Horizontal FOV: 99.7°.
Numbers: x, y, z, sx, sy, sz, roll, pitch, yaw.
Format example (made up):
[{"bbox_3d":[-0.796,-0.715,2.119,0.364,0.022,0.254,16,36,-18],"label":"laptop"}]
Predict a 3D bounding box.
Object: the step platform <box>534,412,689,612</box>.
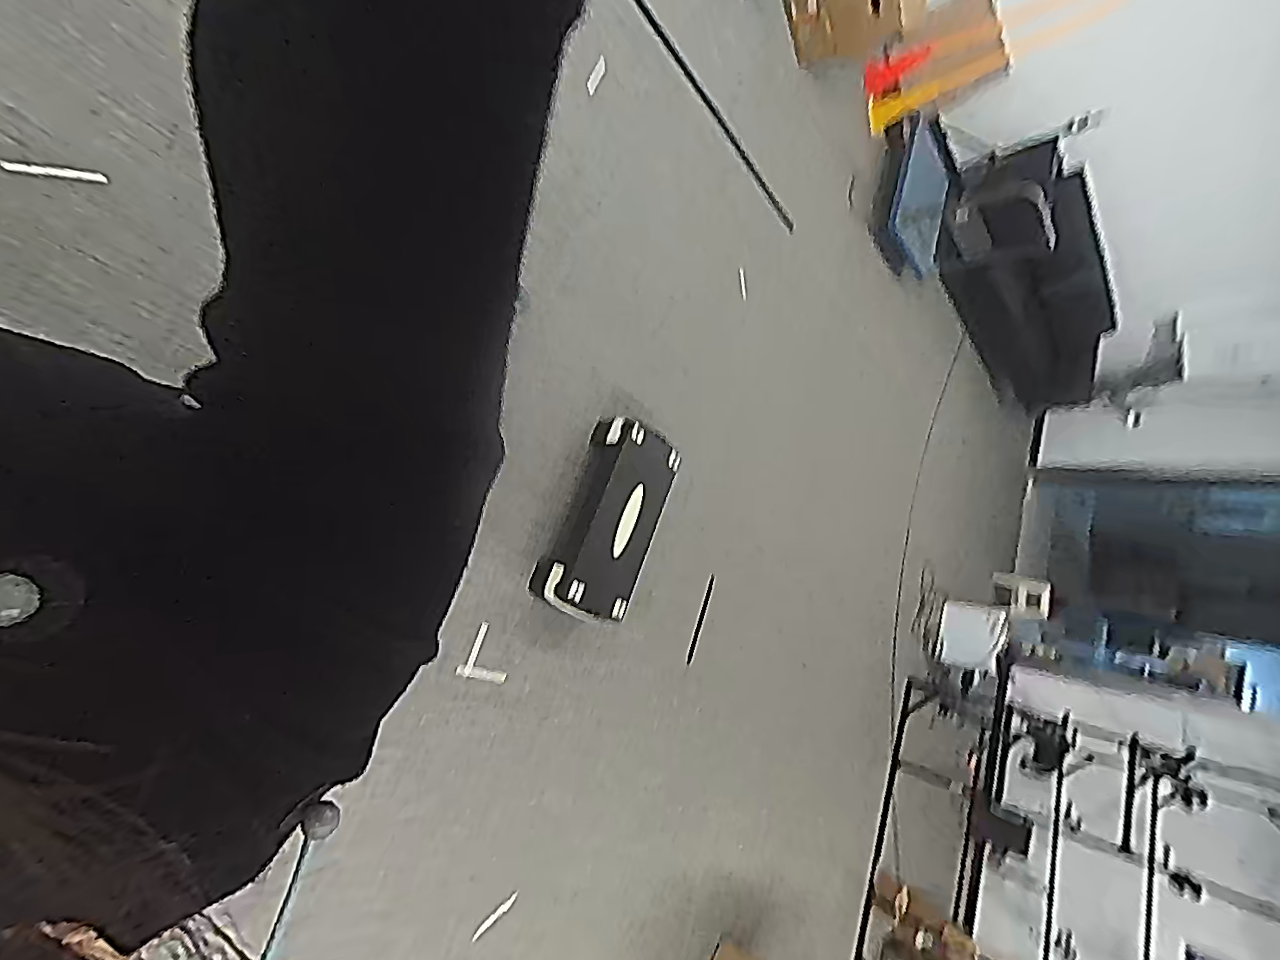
[{"bbox_3d":[-0.076,0.102,1.868,0.286,0.204,0.684,39,65,-35],"label":"step platform"}]
